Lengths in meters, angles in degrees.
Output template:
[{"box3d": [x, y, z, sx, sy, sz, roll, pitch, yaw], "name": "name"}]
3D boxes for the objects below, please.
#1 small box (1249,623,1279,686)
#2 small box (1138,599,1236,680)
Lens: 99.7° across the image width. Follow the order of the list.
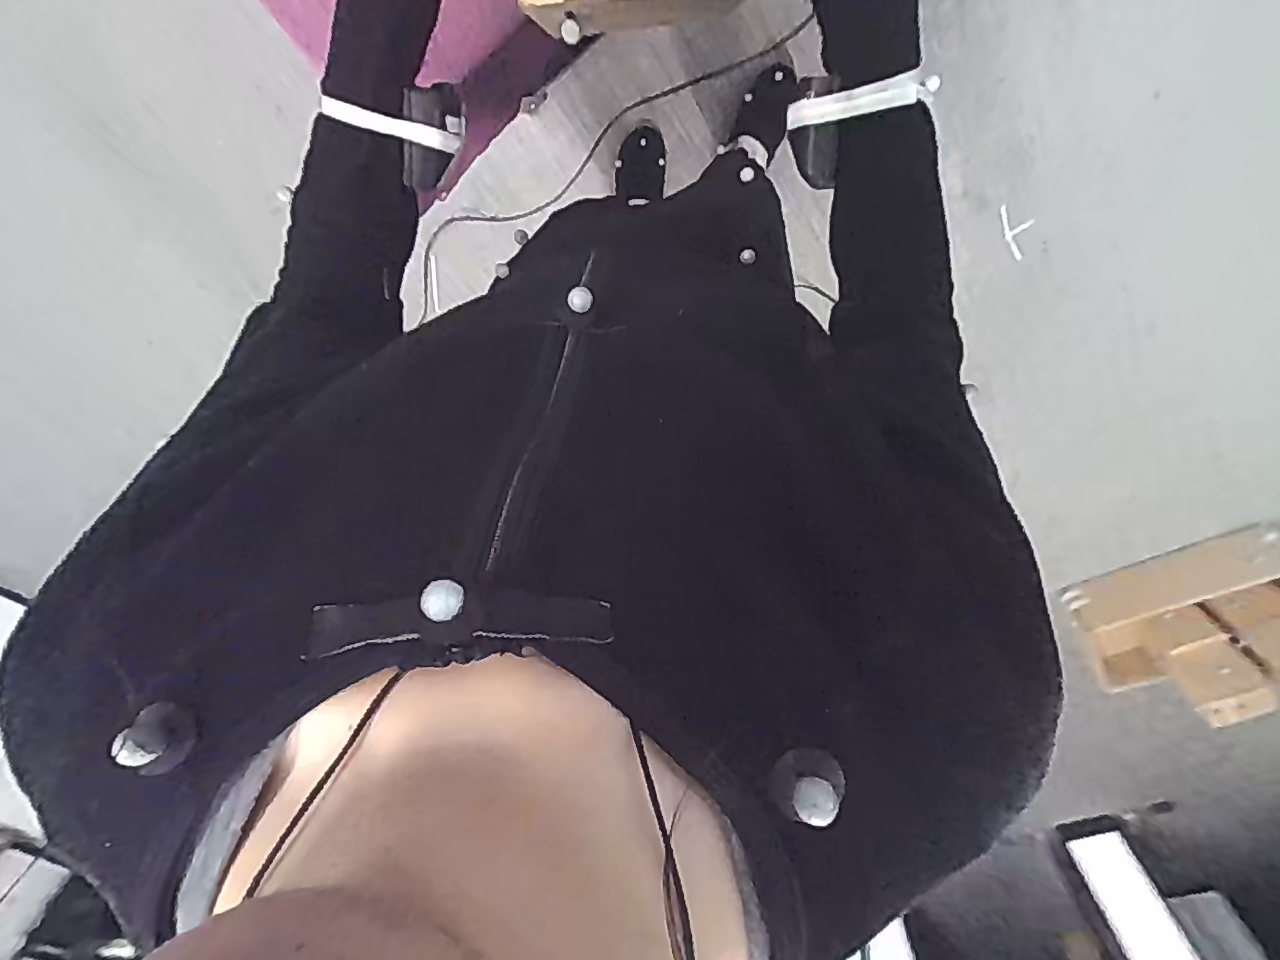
[{"box3d": [1.991, 0.535, 1.617, 0.179, 0.176, 0.168, -31, 116, 23], "name": "small box"}, {"box3d": [1.844, 0.537, 1.827, 0.168, 0.176, 0.179, -29, 118, 19], "name": "small box"}]
